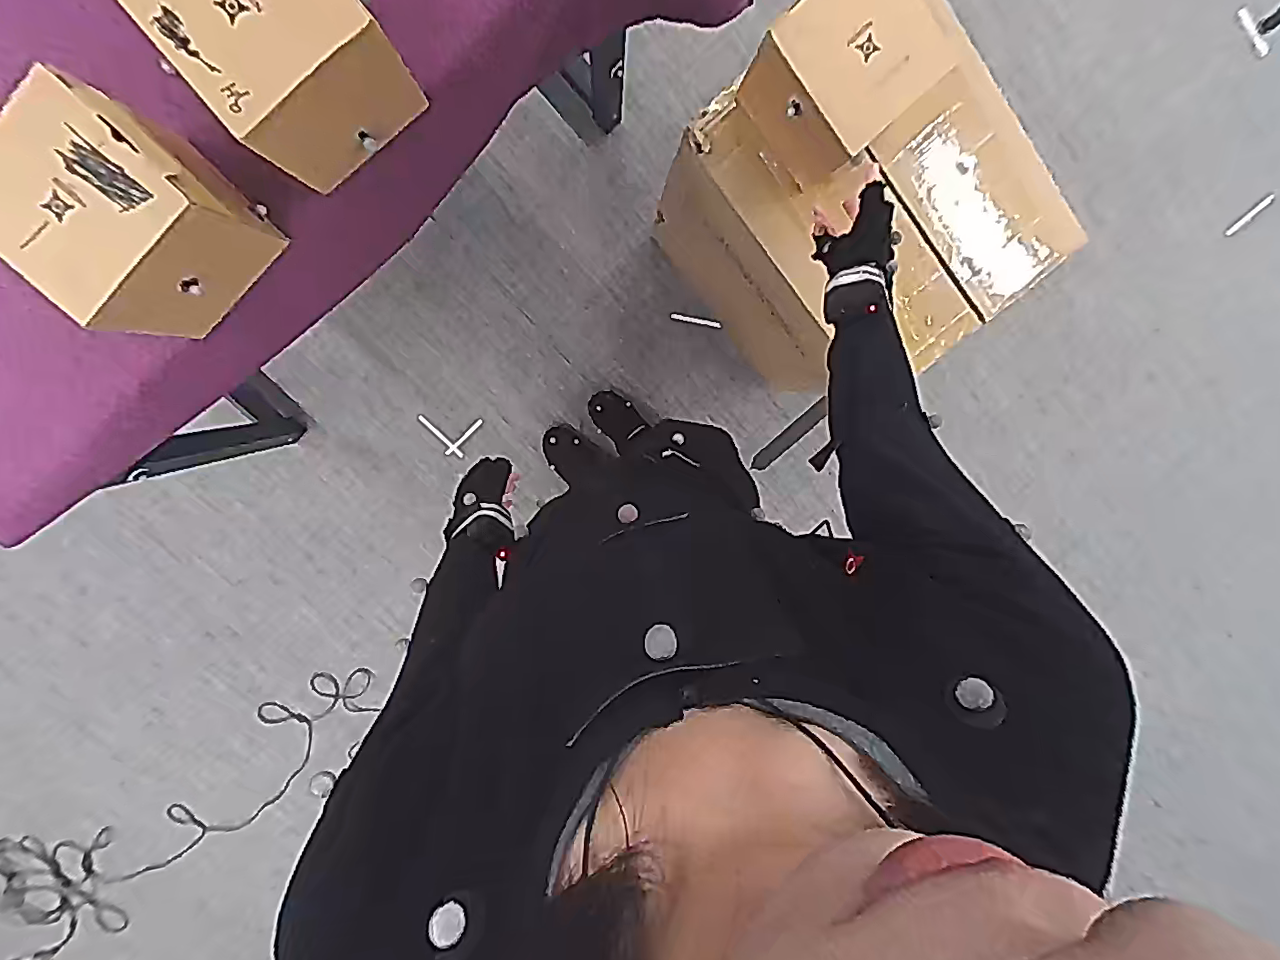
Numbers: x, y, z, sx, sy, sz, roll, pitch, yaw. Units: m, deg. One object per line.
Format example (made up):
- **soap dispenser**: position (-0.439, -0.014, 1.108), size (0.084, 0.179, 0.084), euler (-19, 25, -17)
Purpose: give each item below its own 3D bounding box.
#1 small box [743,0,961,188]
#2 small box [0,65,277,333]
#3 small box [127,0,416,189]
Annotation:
- **small box**: position (0.259, -0.526, 0.708), size (0.168, 0.176, 0.179), euler (-41, 102, 7)
- **small box**: position (-0.551, -0.285, 0.597), size (0.179, 0.176, 0.168), euler (-43, 99, 6)
- **small box**: position (-0.369, -0.456, 0.577), size (0.179, 0.176, 0.168), euler (-38, 100, 3)
